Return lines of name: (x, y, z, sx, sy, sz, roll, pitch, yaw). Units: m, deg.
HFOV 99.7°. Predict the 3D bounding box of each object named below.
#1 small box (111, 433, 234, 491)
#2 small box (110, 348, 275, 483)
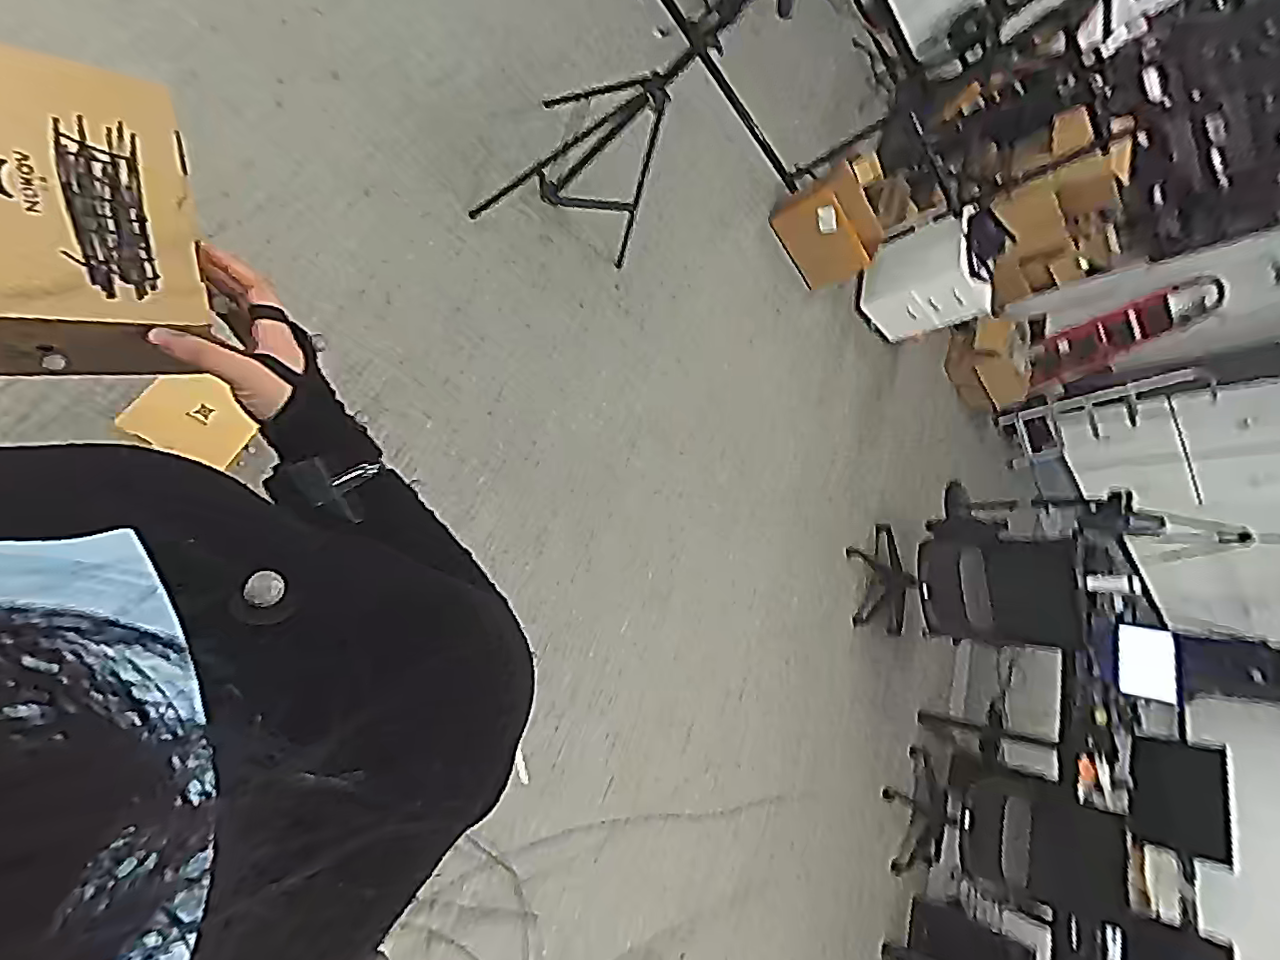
small box: (-0.945, -0.090, 1.135, 0.168, 0.176, 0.179, 38, 61, -31)
small box: (-0.834, -0.113, 1.017, 0.168, 0.176, 0.179, 39, 61, -29)
